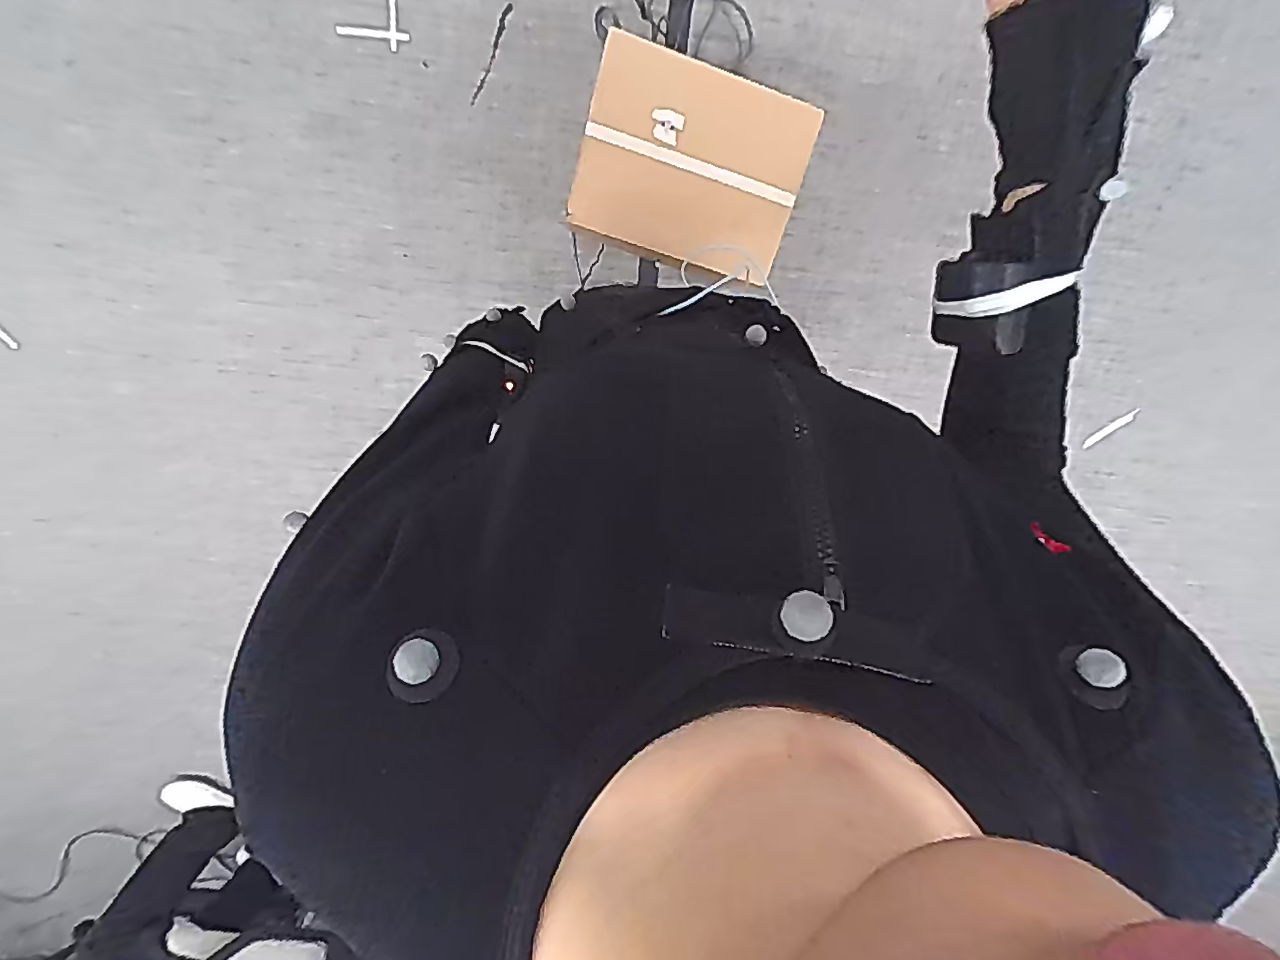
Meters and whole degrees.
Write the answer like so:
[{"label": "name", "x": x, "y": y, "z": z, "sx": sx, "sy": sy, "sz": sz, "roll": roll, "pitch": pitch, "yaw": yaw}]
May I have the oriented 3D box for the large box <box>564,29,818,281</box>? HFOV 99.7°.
[{"label": "large box", "x": 0.085, "y": -0.629, "z": 1.128, "sx": 0.408, "sy": 0.320, "sz": 0.320, "roll": 16, "pitch": 108, "yaw": -8}]
